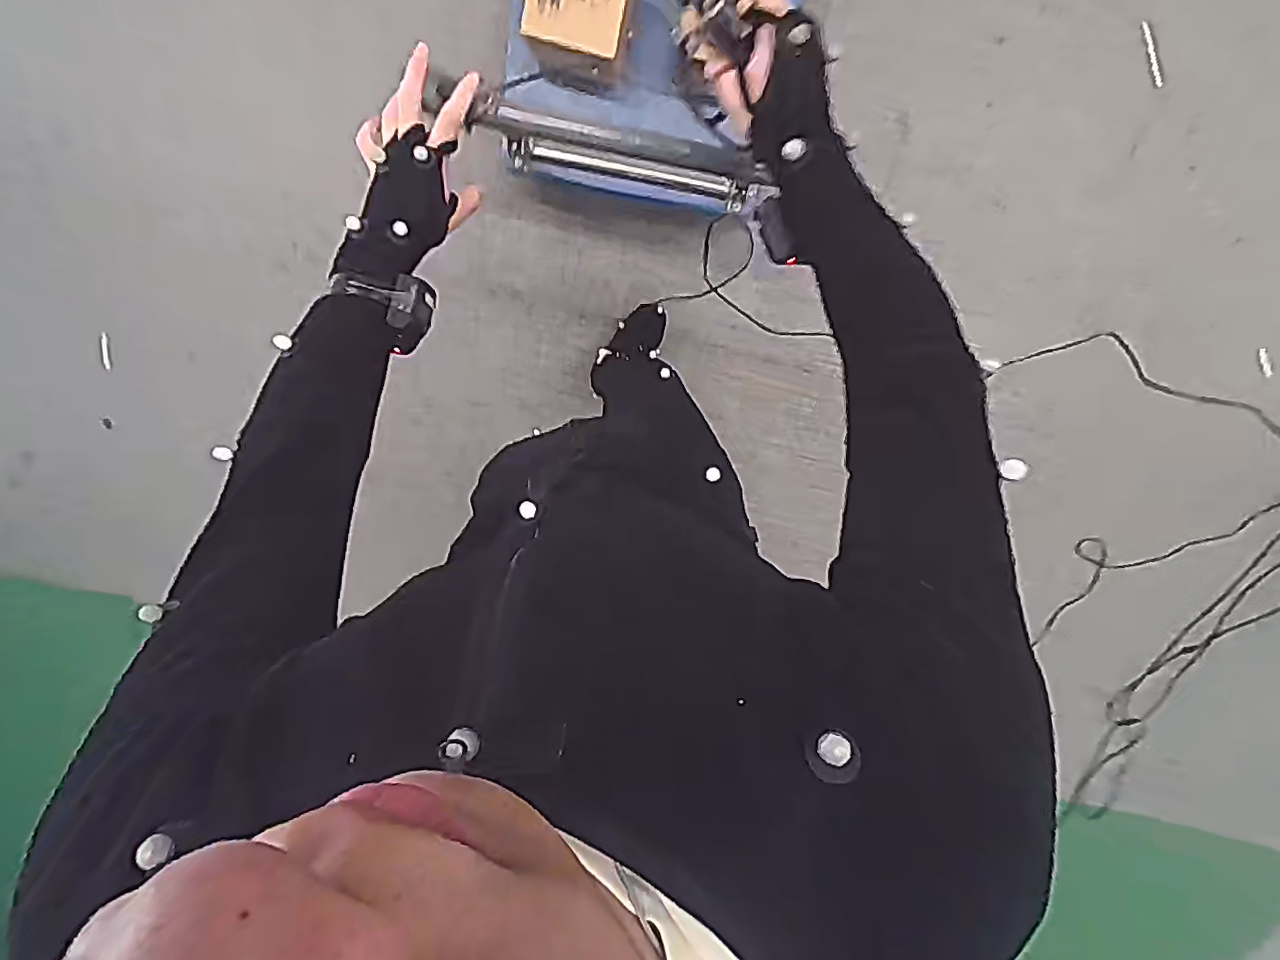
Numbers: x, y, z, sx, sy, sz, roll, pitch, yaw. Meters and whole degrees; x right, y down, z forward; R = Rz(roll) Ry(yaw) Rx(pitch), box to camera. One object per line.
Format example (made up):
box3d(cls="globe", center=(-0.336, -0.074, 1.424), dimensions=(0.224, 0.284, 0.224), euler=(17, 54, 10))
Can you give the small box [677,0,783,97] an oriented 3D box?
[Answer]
box3d(cls="small box", center=(0.166, -0.860, 1.017), dimensions=(0.168, 0.176, 0.179), euler=(11, 112, -3))
